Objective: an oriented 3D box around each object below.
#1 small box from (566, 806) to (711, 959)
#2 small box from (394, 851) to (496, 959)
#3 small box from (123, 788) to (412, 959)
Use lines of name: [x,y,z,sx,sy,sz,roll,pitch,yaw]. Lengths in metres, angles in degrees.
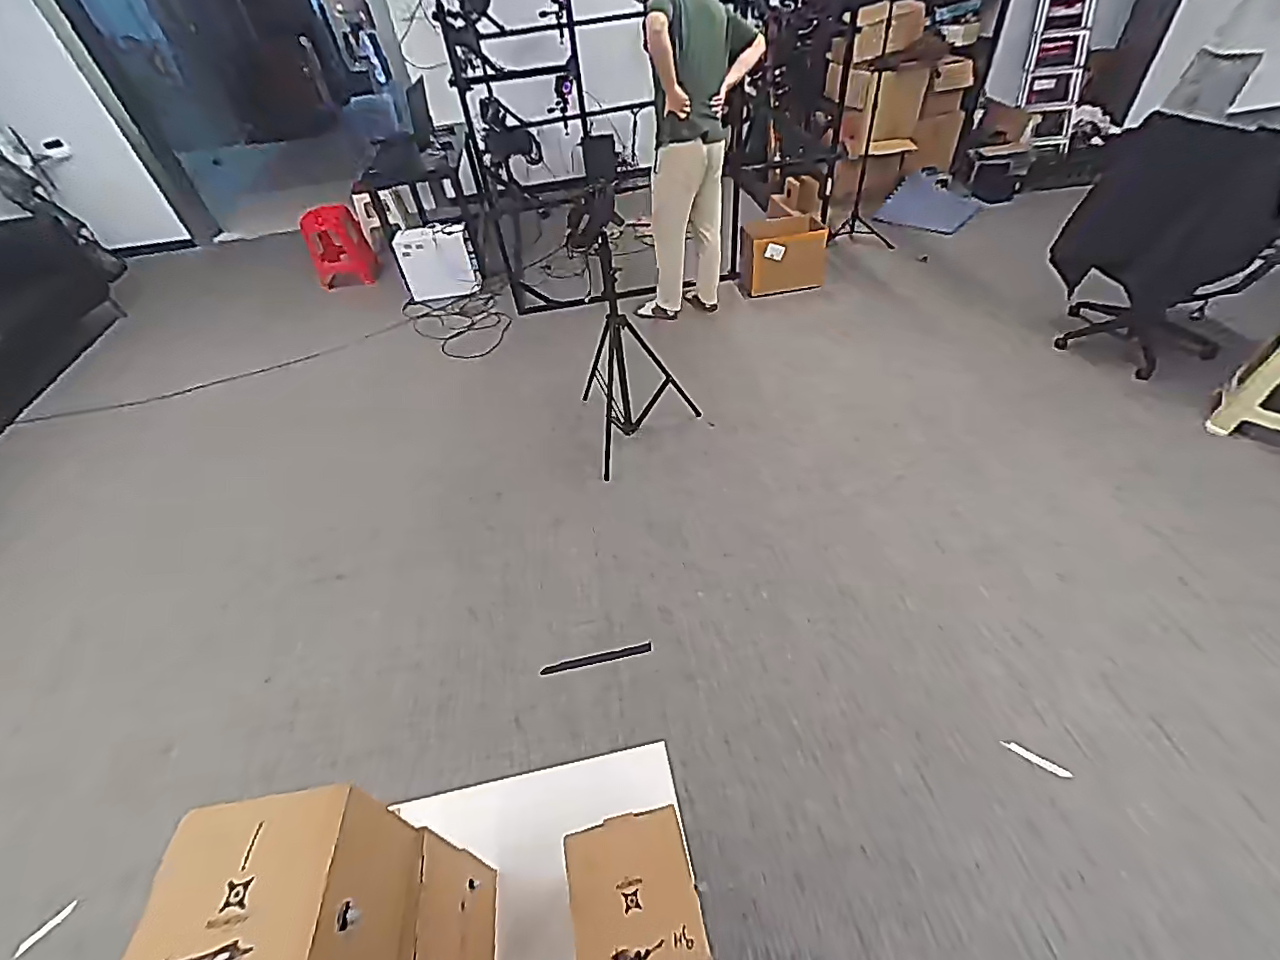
small box: [-0.002,0.602,0.767,0.168,0.176,0.179,-14,45,-4]
small box: [-0.306,0.654,0.758,0.168,0.176,0.179,-10,44,-4]
small box: [-0.342,0.428,0.521,0.168,0.176,0.179,-9,44,-1]
